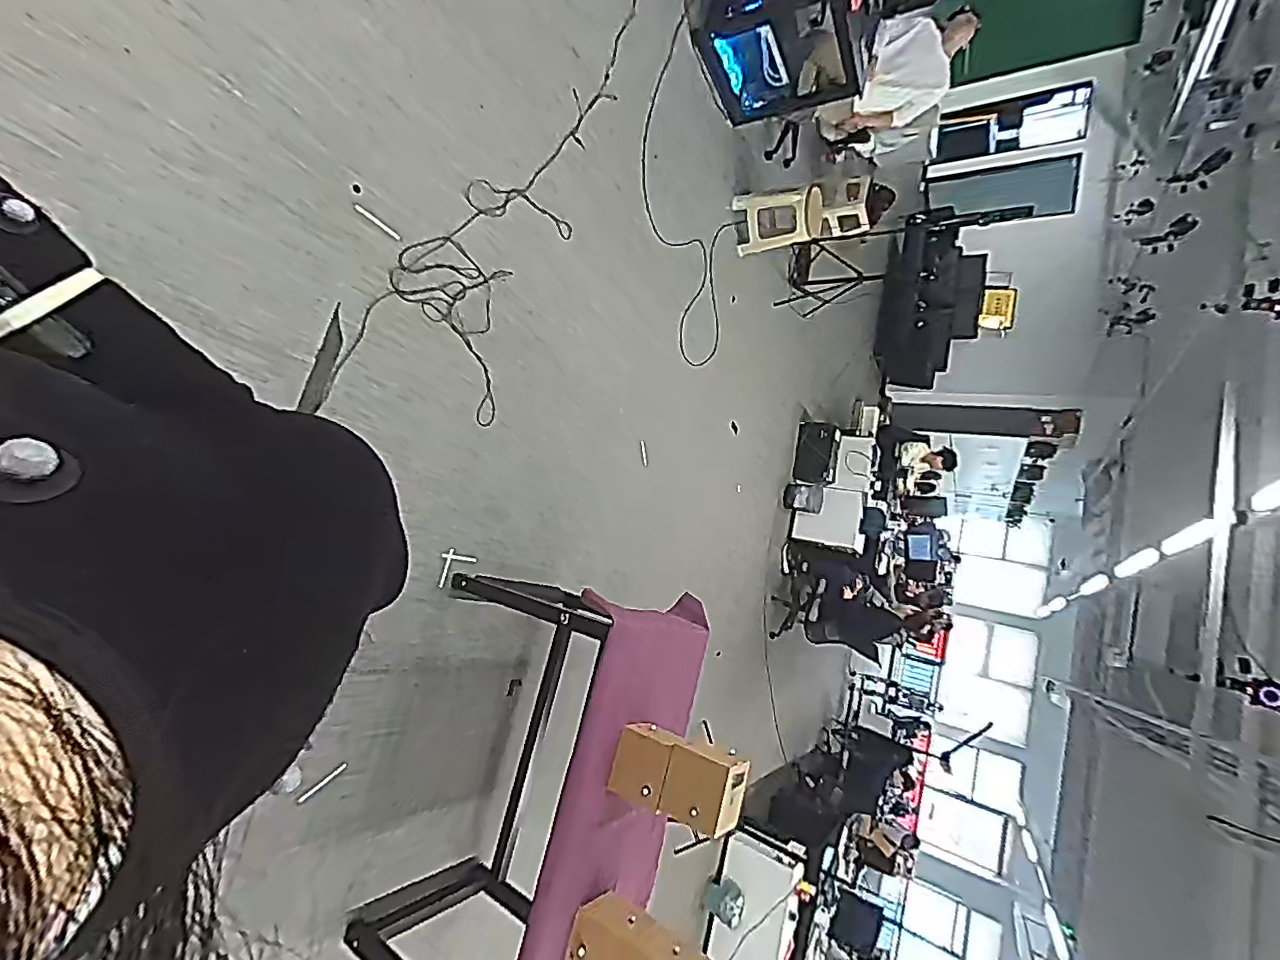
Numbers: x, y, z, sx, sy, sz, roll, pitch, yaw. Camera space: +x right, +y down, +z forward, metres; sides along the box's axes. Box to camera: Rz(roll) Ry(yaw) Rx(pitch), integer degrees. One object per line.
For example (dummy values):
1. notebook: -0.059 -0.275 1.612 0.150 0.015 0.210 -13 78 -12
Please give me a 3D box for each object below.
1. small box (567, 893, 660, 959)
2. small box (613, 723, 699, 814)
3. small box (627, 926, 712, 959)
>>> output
1. small box: -0.073 1.278 1.478 0.179 0.176 0.168 33 69 -54
2. small box: 0.044 0.821 1.555 0.168 0.176 0.179 34 68 -55
3. small box: 0.060 1.296 1.385 0.179 0.176 0.168 37 66 -54
